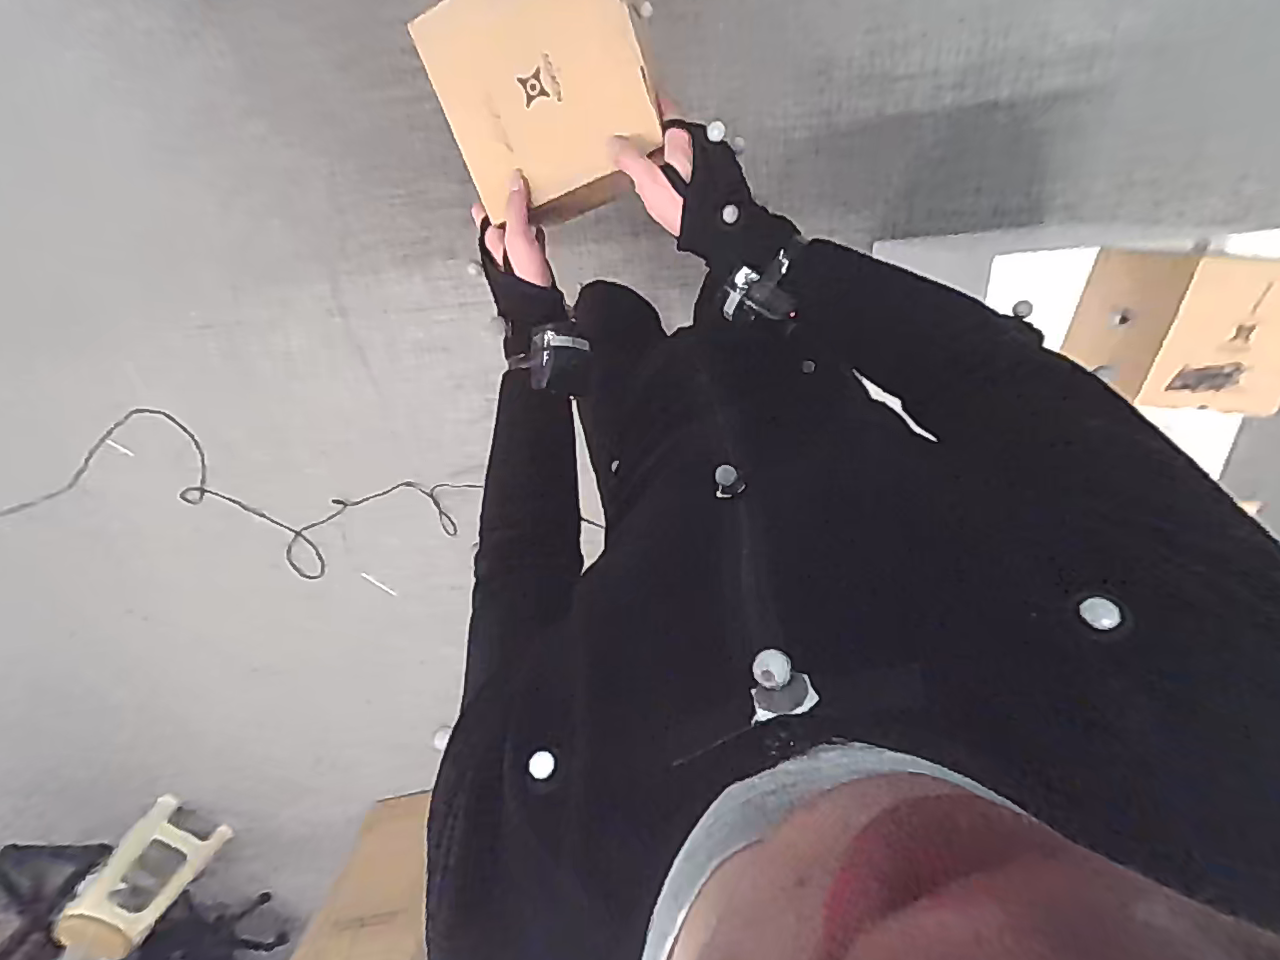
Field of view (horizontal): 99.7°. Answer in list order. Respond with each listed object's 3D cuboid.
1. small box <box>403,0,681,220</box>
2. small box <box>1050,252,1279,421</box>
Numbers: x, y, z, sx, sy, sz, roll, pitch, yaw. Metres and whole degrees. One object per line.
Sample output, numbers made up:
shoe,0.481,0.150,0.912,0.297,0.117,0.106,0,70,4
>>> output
small box,-0.067,-0.356,0.496,0.179,0.176,0.168,-15,109,17
small box,0.684,-0.192,0.701,0.168,0.176,0.179,4,116,1
